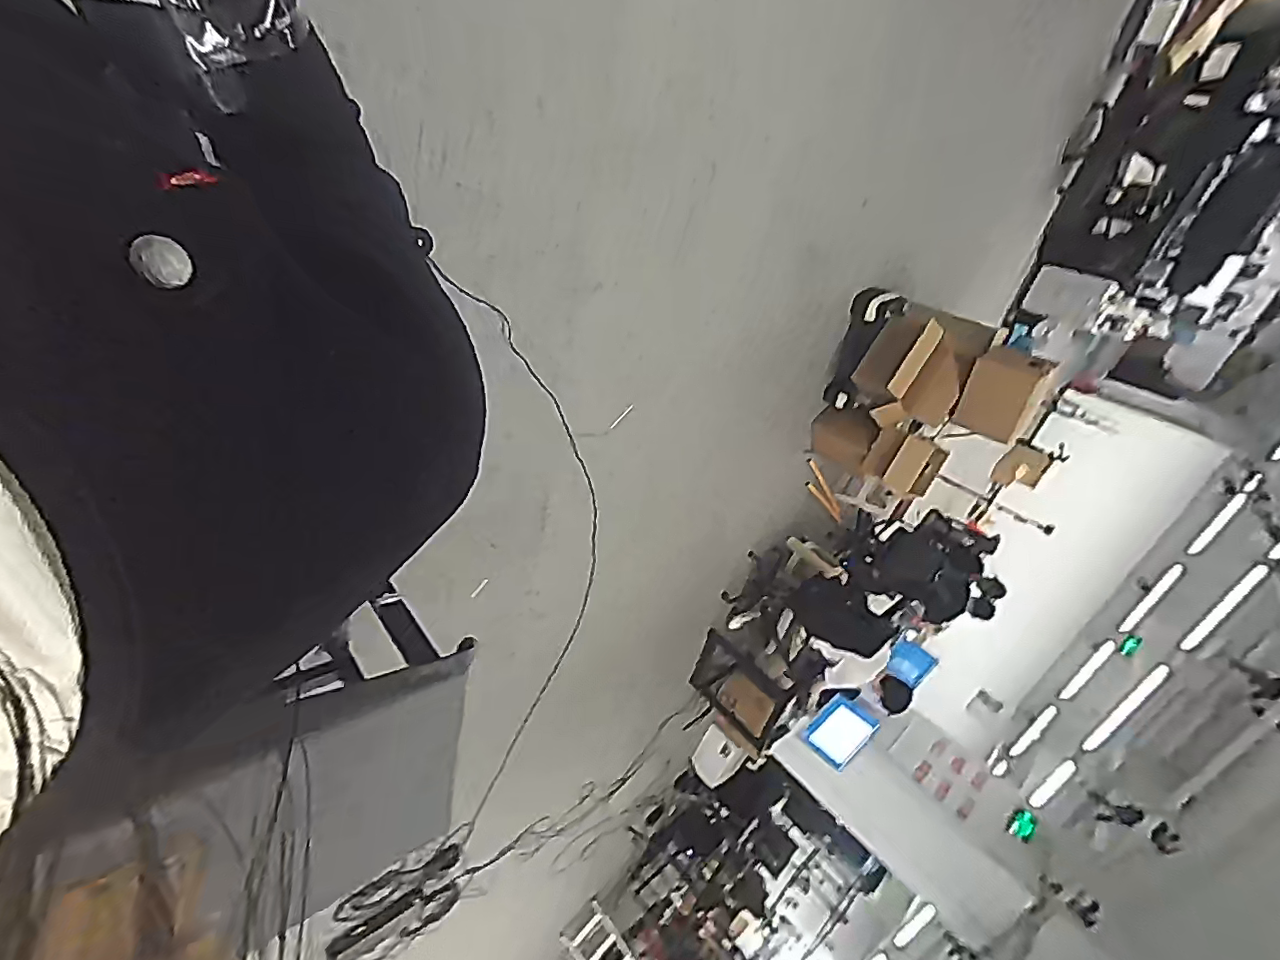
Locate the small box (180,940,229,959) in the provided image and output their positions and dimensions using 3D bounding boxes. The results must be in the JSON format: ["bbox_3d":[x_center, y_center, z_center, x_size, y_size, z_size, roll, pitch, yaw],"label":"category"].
[{"bbox_3d":[-0.625,0.769,0.701,0.179,0.176,0.168,-17,133,-39],"label":"small box"}]

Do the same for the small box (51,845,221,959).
[{"bbox_3d":[-0.747,0.698,0.812,0.168,0.176,0.179,-12,129,-44],"label":"small box"}]
